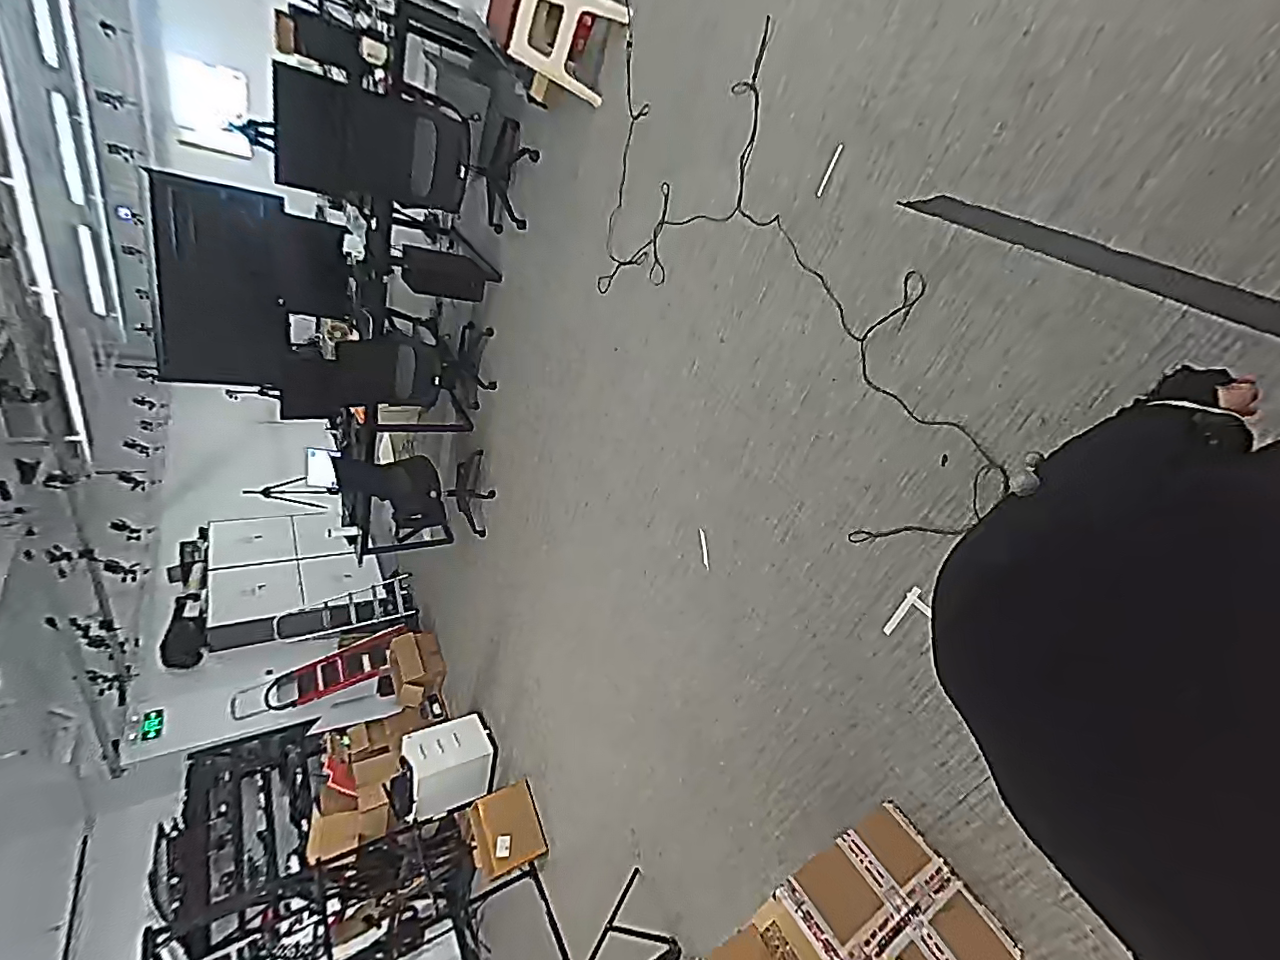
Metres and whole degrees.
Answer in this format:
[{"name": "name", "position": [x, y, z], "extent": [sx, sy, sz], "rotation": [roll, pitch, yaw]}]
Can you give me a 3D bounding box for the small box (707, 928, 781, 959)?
[{"name": "small box", "position": [0.246, 1.200, 1.263], "extent": [0.179, 0.176, 0.168], "rotation": [49, 129, 41]}]
